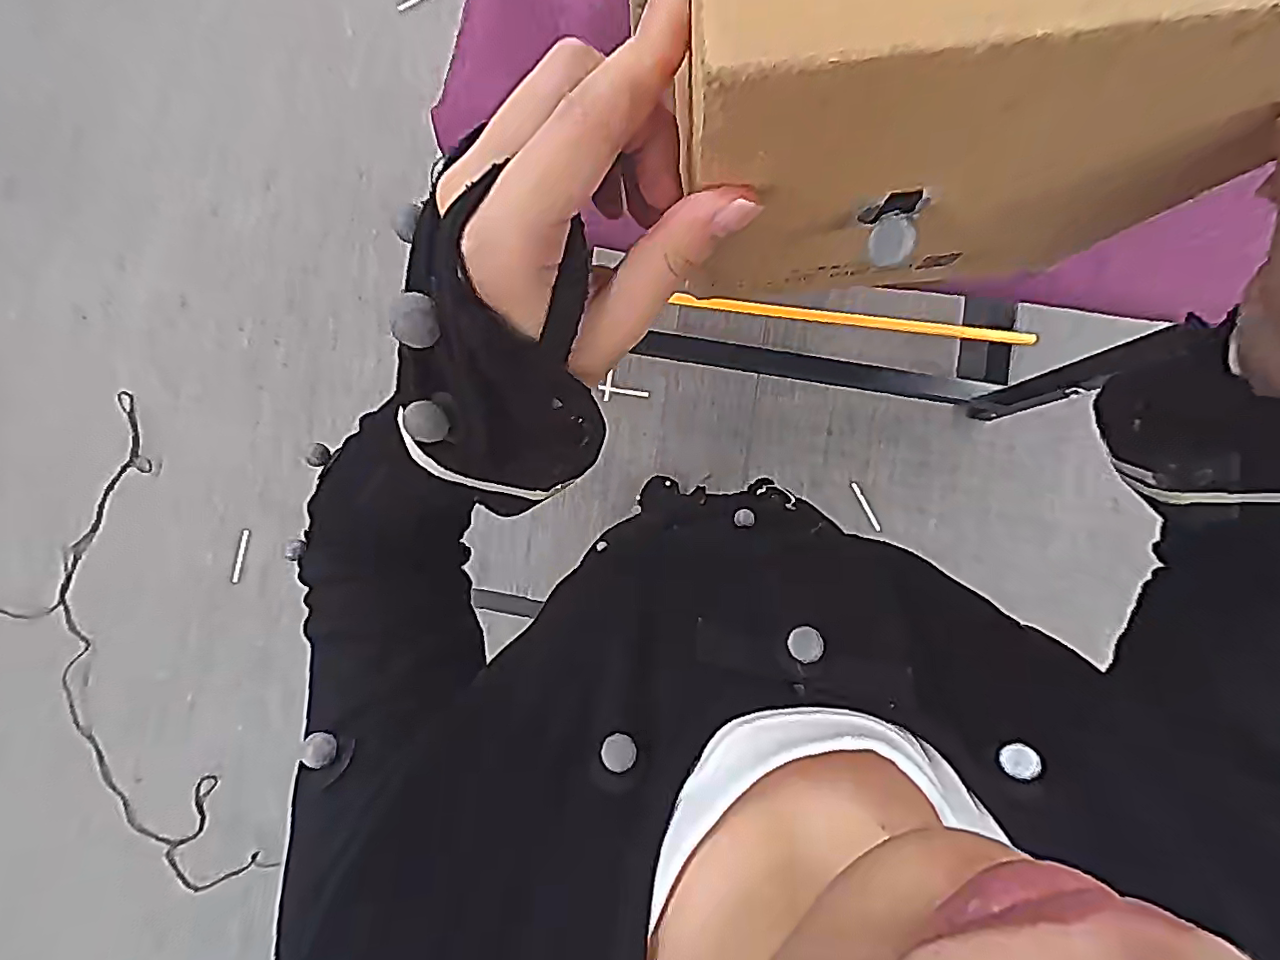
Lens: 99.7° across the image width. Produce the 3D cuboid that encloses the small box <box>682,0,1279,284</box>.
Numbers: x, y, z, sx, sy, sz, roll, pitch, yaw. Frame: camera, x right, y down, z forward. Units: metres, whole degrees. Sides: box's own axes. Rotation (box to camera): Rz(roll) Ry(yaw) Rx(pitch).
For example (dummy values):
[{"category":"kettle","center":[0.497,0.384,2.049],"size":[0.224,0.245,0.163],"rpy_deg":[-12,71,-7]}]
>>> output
[{"category":"small box","center":[0.096,-0.170,0.166],"size":[0.168,0.176,0.179],"rpy_deg":[-4,94,6]}]
